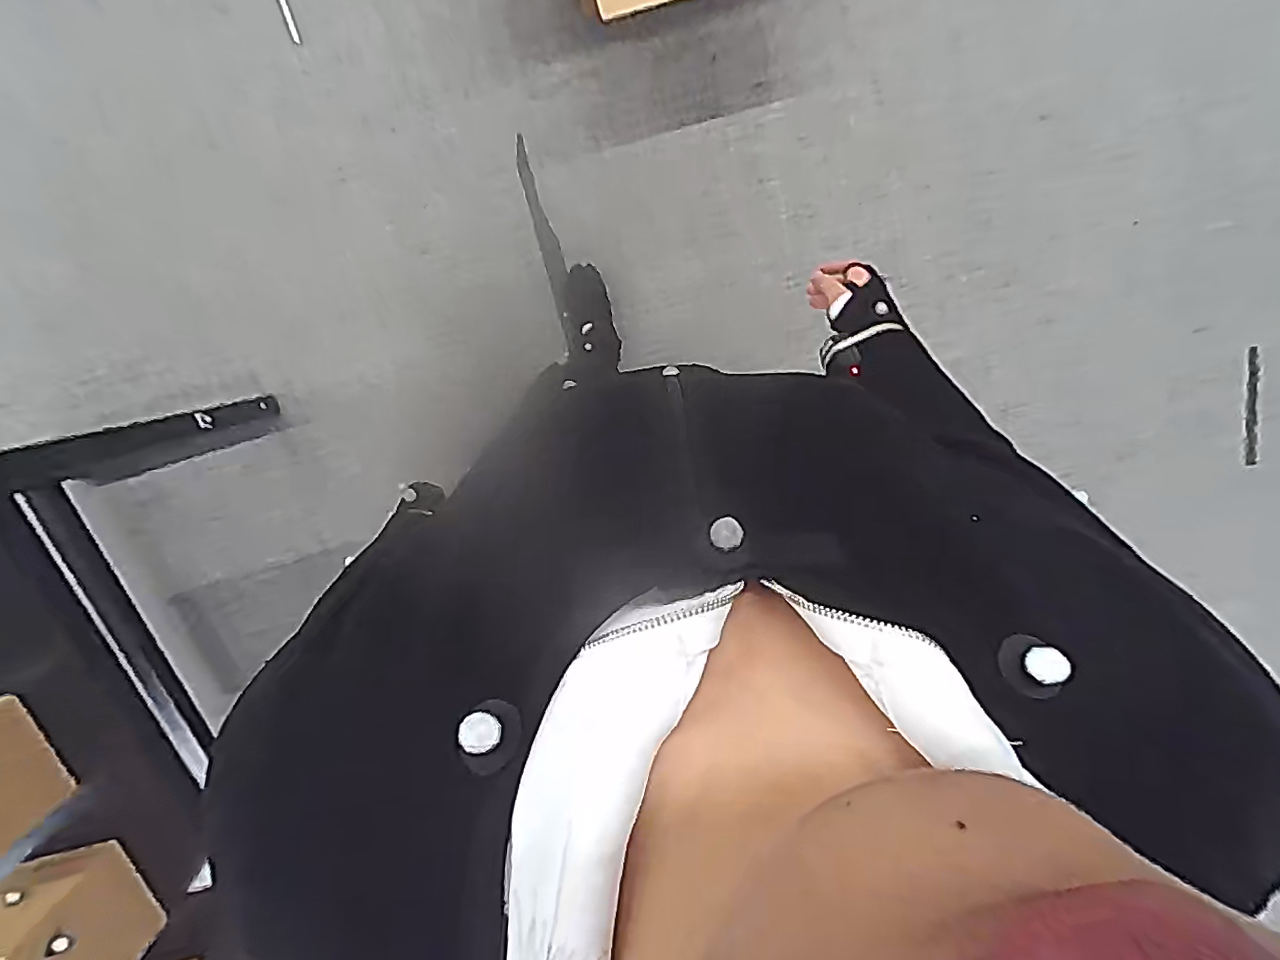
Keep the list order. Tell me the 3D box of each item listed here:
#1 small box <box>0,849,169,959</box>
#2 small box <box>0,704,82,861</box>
[{"bbox_3d":[-0.866,0.683,0.795,0.168,0.176,0.179,-14,106,1],"label":"small box"},{"bbox_3d":[-0.936,0.427,0.723,0.168,0.176,0.179,-15,107,2],"label":"small box"}]
